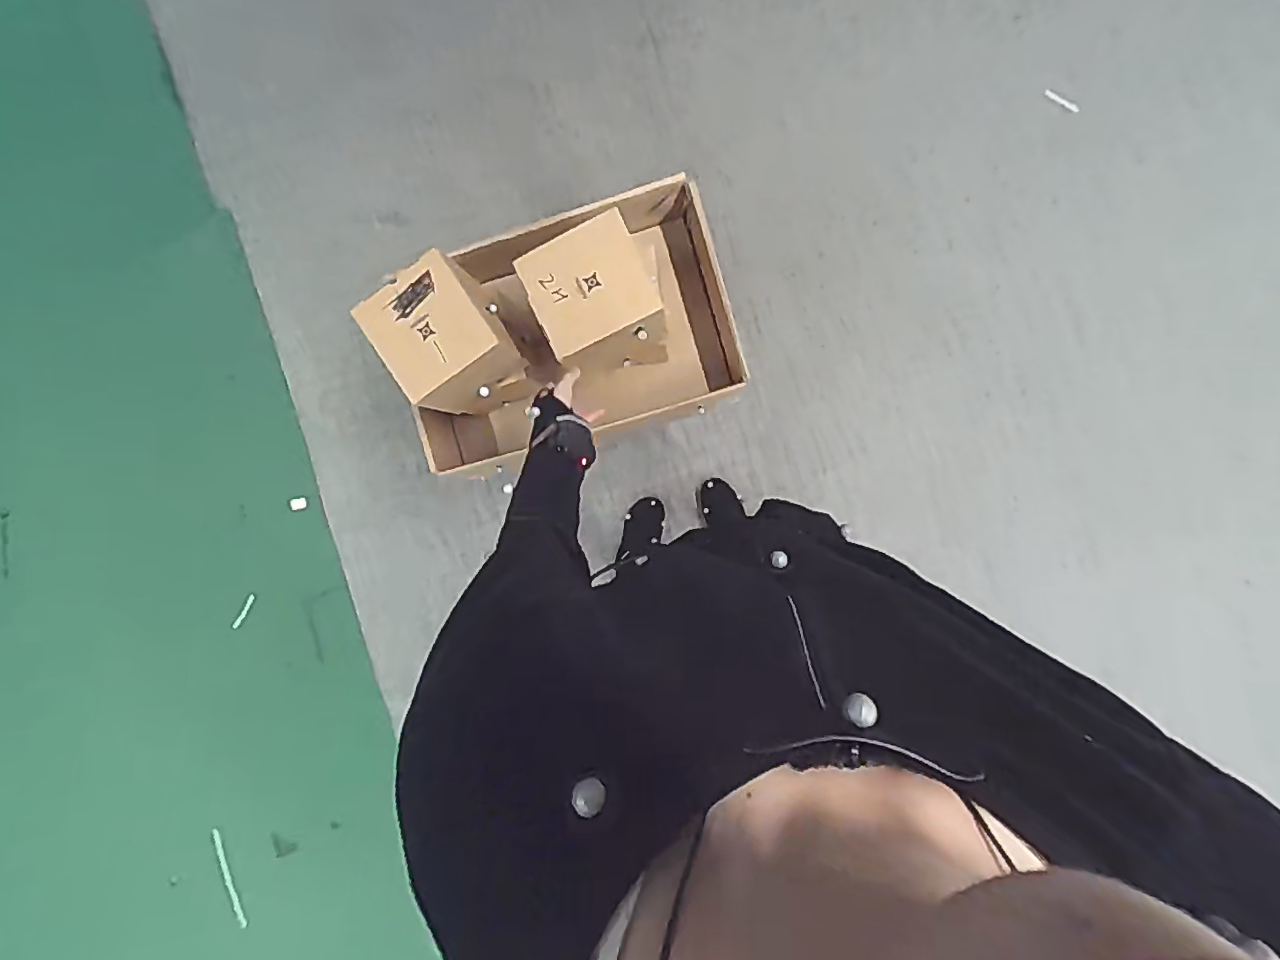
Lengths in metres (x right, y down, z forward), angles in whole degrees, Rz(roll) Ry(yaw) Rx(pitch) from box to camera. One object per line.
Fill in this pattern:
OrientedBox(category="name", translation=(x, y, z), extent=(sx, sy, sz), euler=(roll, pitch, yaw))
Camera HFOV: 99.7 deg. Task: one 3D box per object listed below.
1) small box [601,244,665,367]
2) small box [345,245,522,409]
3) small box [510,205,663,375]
OrientedBox(category="small box", translation=(-0.044, -0.314, 1.014), extent=(0.168, 0.176, 0.179), euler=(-6, 91, 5))
OrientedBox(category="small box", translation=(-0.320, -0.231, 0.871), extent=(0.168, 0.176, 0.179), euler=(-32, 89, 5))
OrientedBox(category="small box", translation=(-0.072, -0.284, 0.850), extent=(0.179, 0.176, 0.168), euler=(-24, 88, 6))
